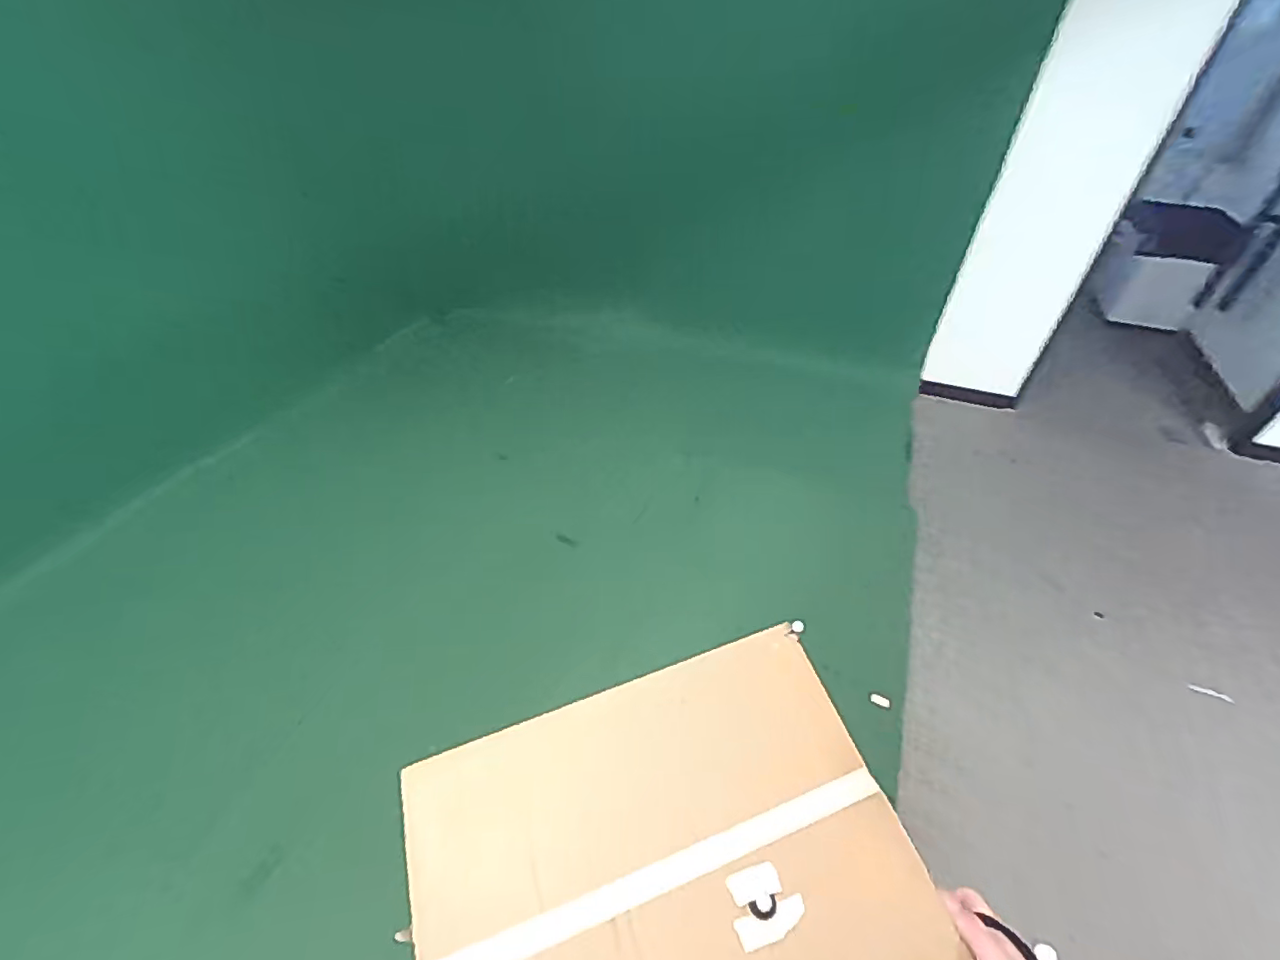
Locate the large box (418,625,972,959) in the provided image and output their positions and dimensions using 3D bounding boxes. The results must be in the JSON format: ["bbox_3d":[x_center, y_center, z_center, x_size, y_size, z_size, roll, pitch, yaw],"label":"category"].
[{"bbox_3d":[0.028,0.416,0.583,0.408,0.320,0.320,-17,57,-11],"label":"large box"}]
